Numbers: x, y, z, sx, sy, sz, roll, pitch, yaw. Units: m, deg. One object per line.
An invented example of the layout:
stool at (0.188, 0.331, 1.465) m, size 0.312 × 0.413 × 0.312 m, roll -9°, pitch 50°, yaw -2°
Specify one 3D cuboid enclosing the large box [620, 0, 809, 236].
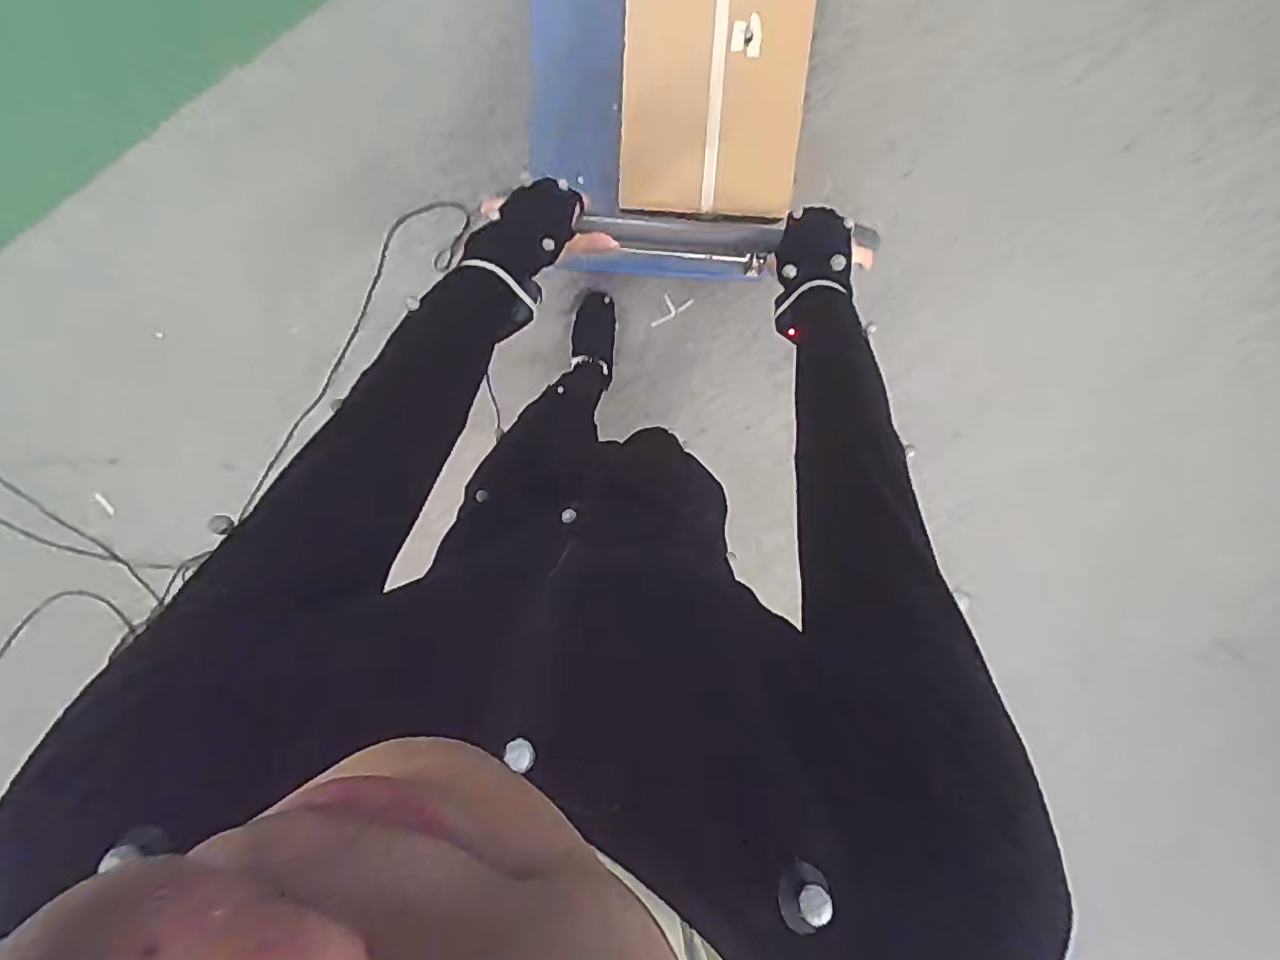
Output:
large box at (0.121, -0.724, 1.080) m, size 0.320 × 0.320 × 0.408 m, roll 2°, pitch 108°, yaw -4°
